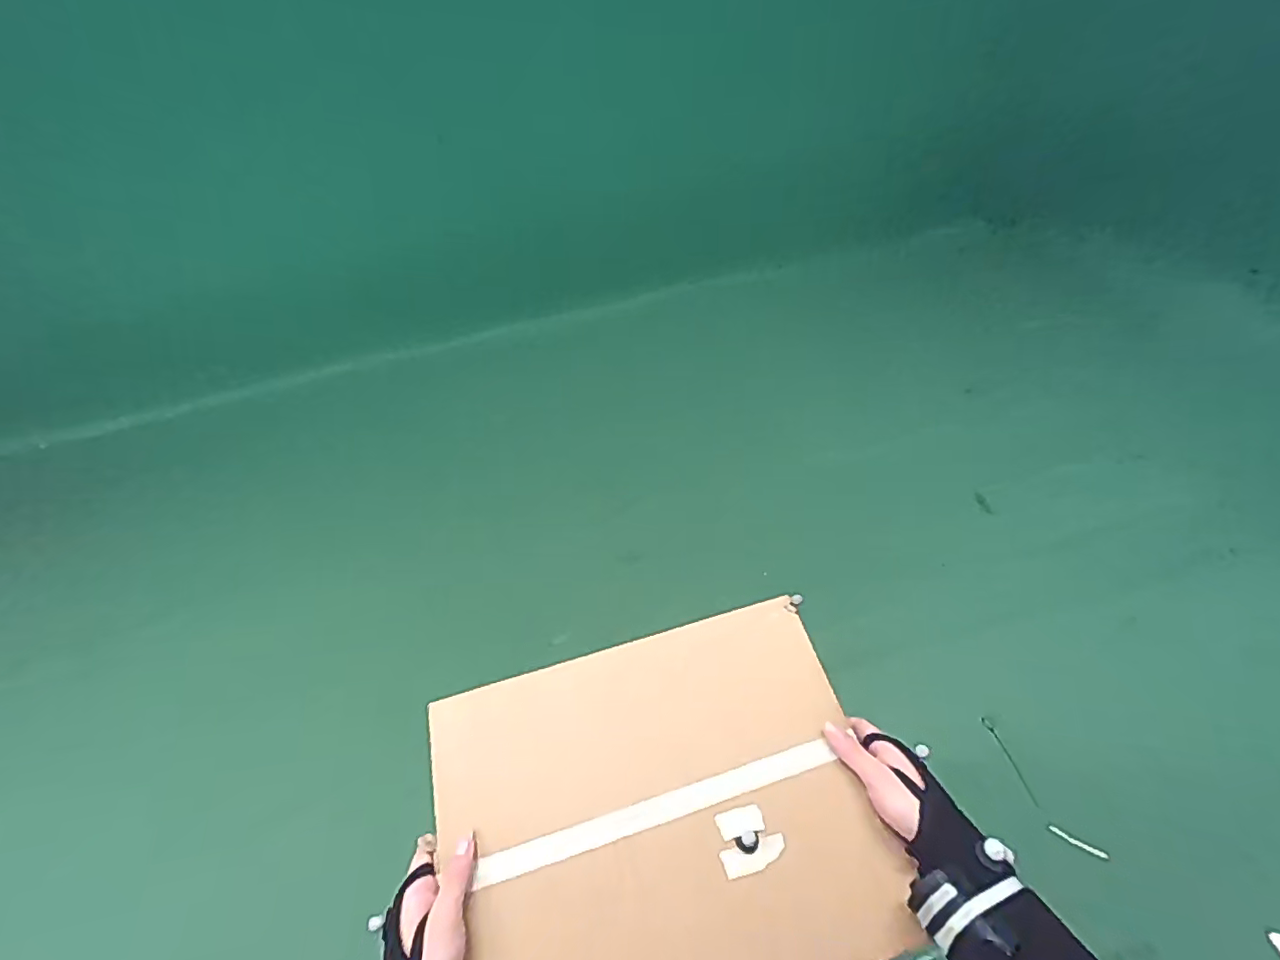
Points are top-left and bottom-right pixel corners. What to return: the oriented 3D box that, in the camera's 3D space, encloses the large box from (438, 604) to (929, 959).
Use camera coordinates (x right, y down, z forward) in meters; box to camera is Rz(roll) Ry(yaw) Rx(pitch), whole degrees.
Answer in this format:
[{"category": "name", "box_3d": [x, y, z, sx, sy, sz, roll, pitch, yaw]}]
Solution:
[{"category": "large box", "box_3d": [0.021, 0.398, 0.638, 0.408, 0.320, 0.320, -14, 58, -9]}]
